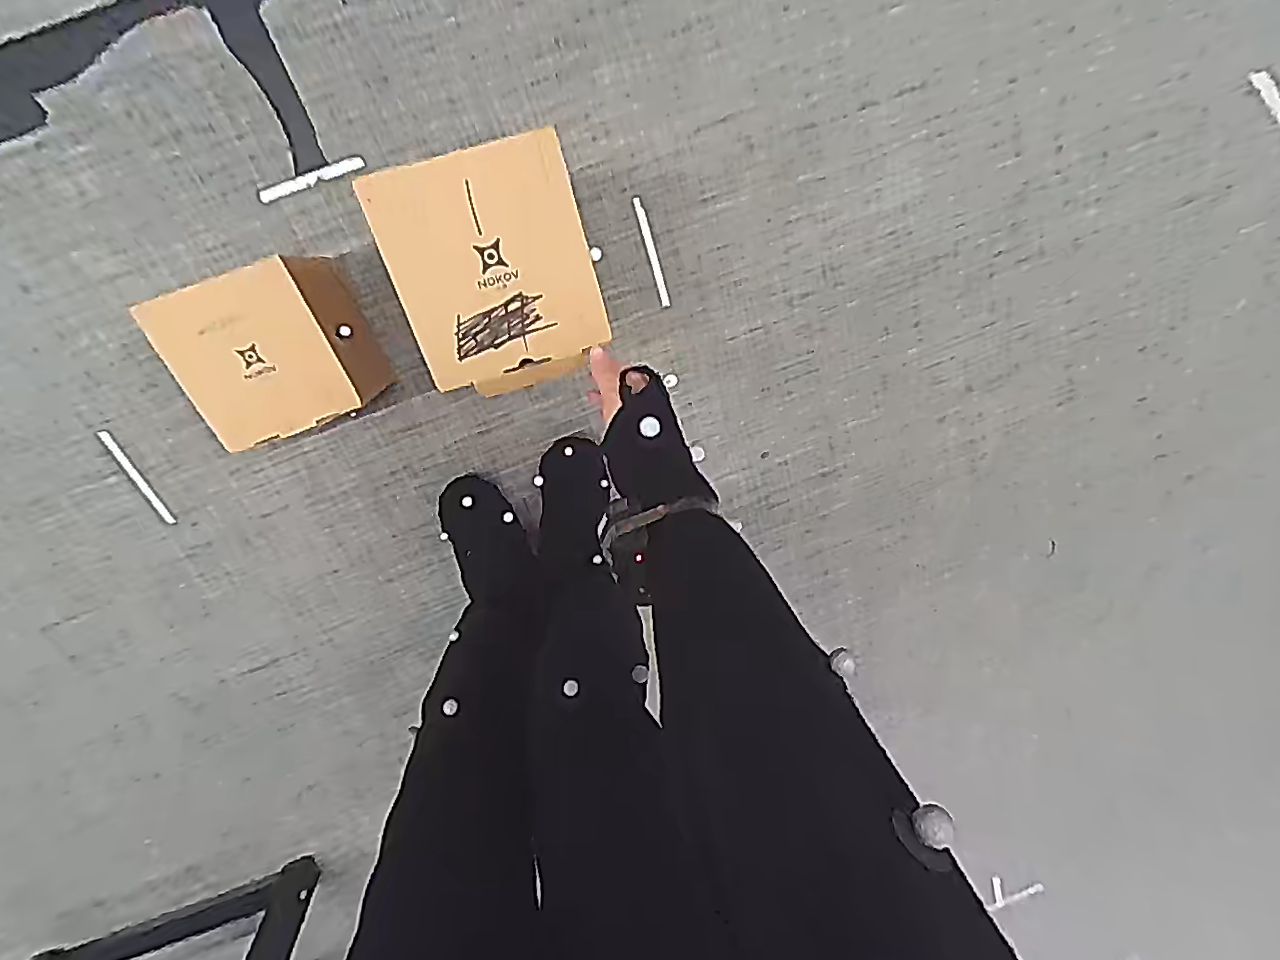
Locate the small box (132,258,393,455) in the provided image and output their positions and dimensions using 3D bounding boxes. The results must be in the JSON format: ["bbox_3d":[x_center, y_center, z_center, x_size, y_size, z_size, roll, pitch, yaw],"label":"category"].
[{"bbox_3d":[-0.433,-0.158,0.662,0.168,0.176,0.179,-22,113,-3],"label":"small box"}]

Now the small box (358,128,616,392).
[{"bbox_3d":[-0.130,-0.205,0.521,0.168,0.176,0.179,-17,113,-4],"label":"small box"}]
